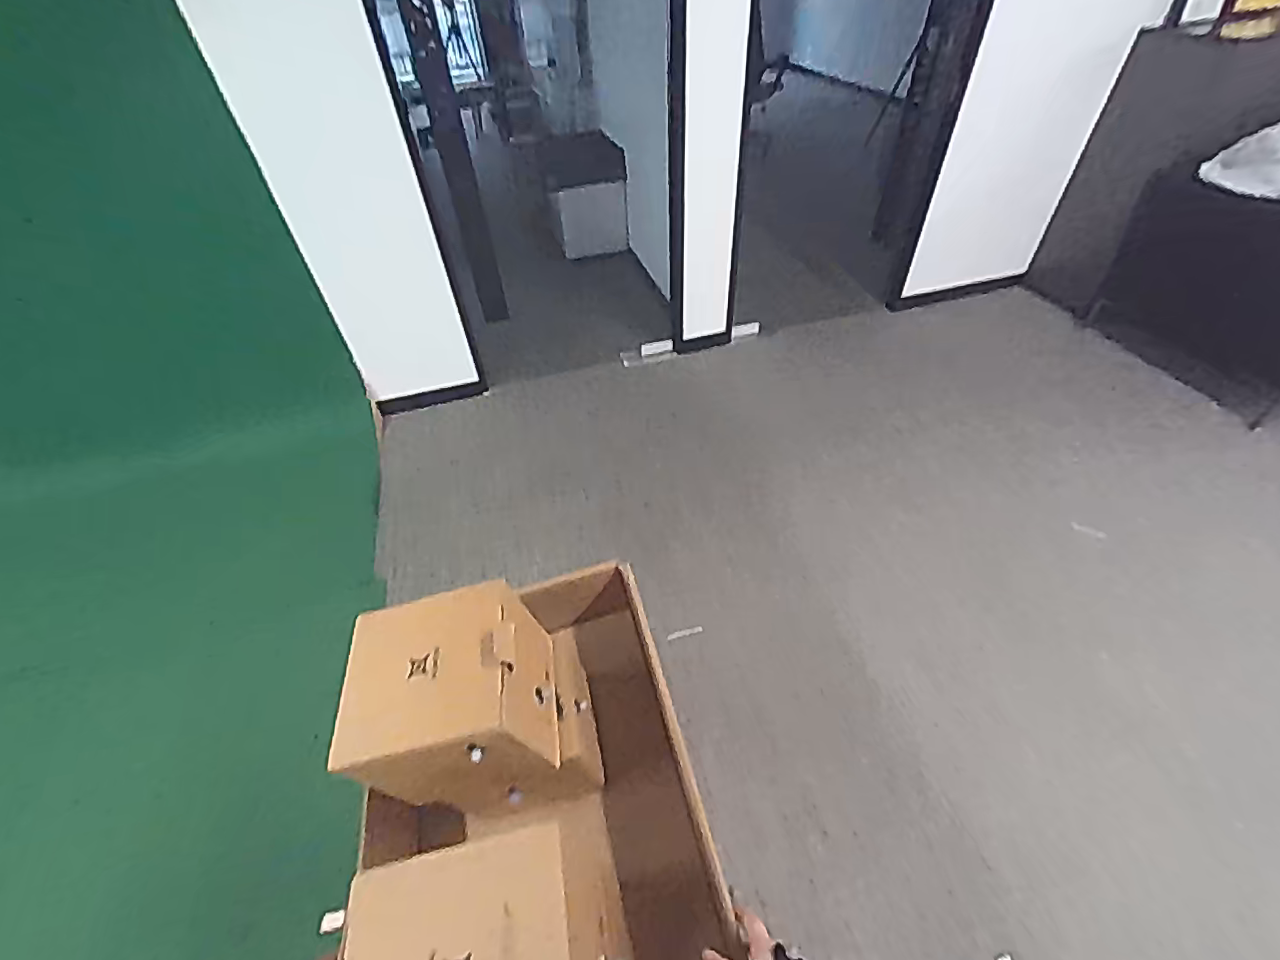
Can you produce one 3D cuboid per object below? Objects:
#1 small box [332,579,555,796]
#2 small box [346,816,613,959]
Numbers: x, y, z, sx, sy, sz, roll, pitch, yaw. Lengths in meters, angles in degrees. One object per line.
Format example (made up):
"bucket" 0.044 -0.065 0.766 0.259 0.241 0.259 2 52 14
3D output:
"small box" -0.208 0.243 0.623 0.179 0.176 0.168 -13 48 1
"small box" -0.122 0.412 0.454 0.179 0.176 0.168 -14 47 -3
